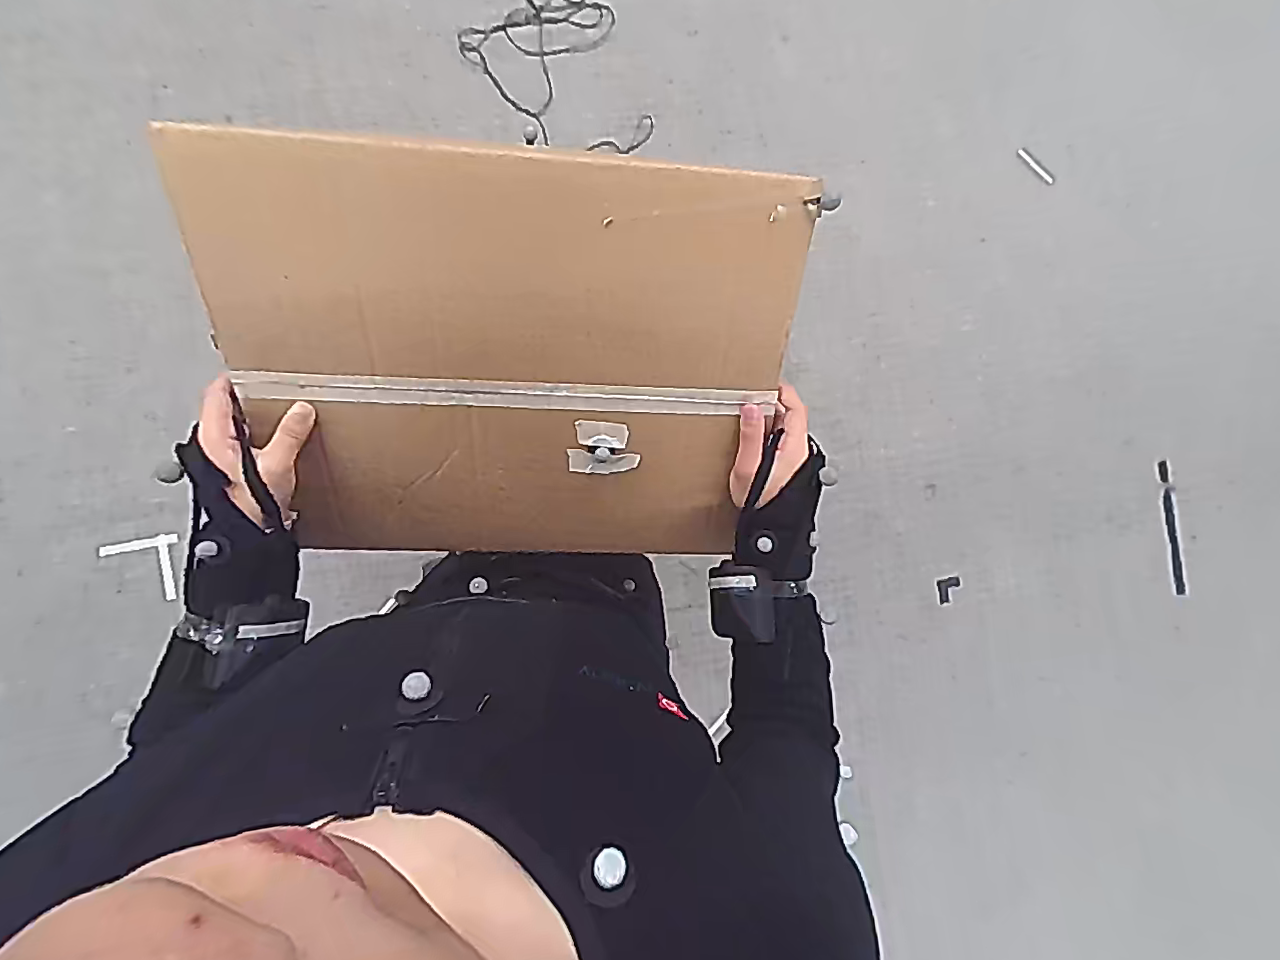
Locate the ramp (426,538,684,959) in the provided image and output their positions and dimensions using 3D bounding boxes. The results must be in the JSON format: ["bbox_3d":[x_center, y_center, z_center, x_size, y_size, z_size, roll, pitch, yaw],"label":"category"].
[{"bbox_3d":[-0.224,0.666,1.297,0.509,0.206,0.991,-10,88,-6],"label":"ramp"}]

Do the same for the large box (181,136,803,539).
[{"bbox_3d":[-0.107,-0.157,0.551,0.408,0.320,0.320,0,123,-6],"label":"large box"}]
